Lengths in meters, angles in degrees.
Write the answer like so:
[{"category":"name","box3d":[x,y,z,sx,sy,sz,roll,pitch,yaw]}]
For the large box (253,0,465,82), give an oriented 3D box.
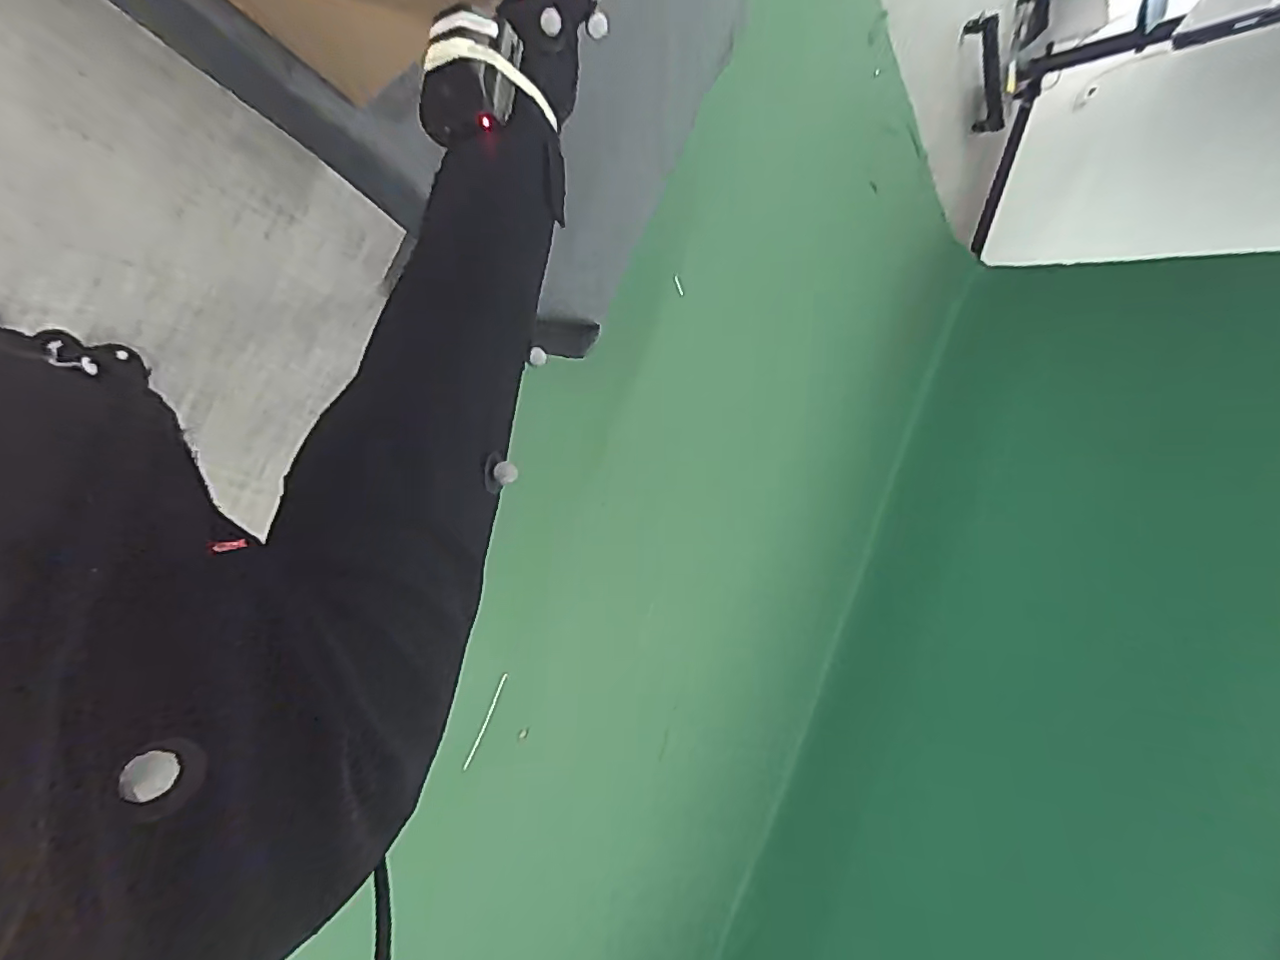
[{"category":"large box","box3d":[-0.256,-0.572,0.326,0.408,0.320,0.320,26,83,-47]}]
